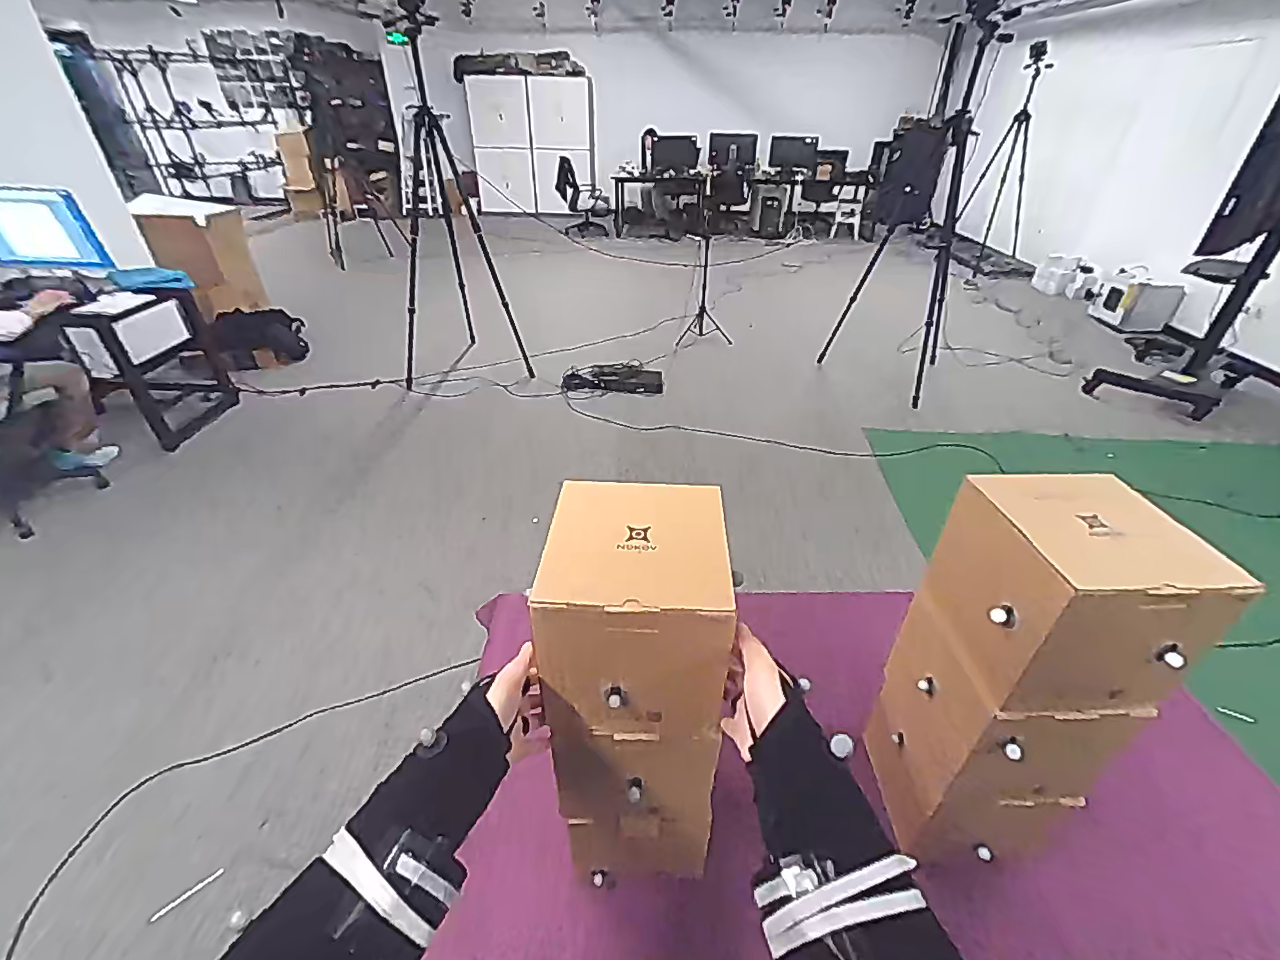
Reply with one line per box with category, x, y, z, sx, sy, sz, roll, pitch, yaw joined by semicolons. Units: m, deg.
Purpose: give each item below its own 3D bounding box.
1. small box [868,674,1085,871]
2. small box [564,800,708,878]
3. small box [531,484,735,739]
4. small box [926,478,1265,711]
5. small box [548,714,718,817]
small box;0.429;0.390;0.731;0.168;0.176;0.179;1;35;2
small box;-0.004;0.398;0.715;0.168;0.176;0.179;0;34;-2
small box;-0.004;0.124;0.535;0.168;0.176;0.179;2;34;2
small box;0.429;0.115;0.552;0.168;0.176;0.179;0;34;-1
small box;-0.006;0.263;0.623;0.168;0.176;0.179;1;36;-1
